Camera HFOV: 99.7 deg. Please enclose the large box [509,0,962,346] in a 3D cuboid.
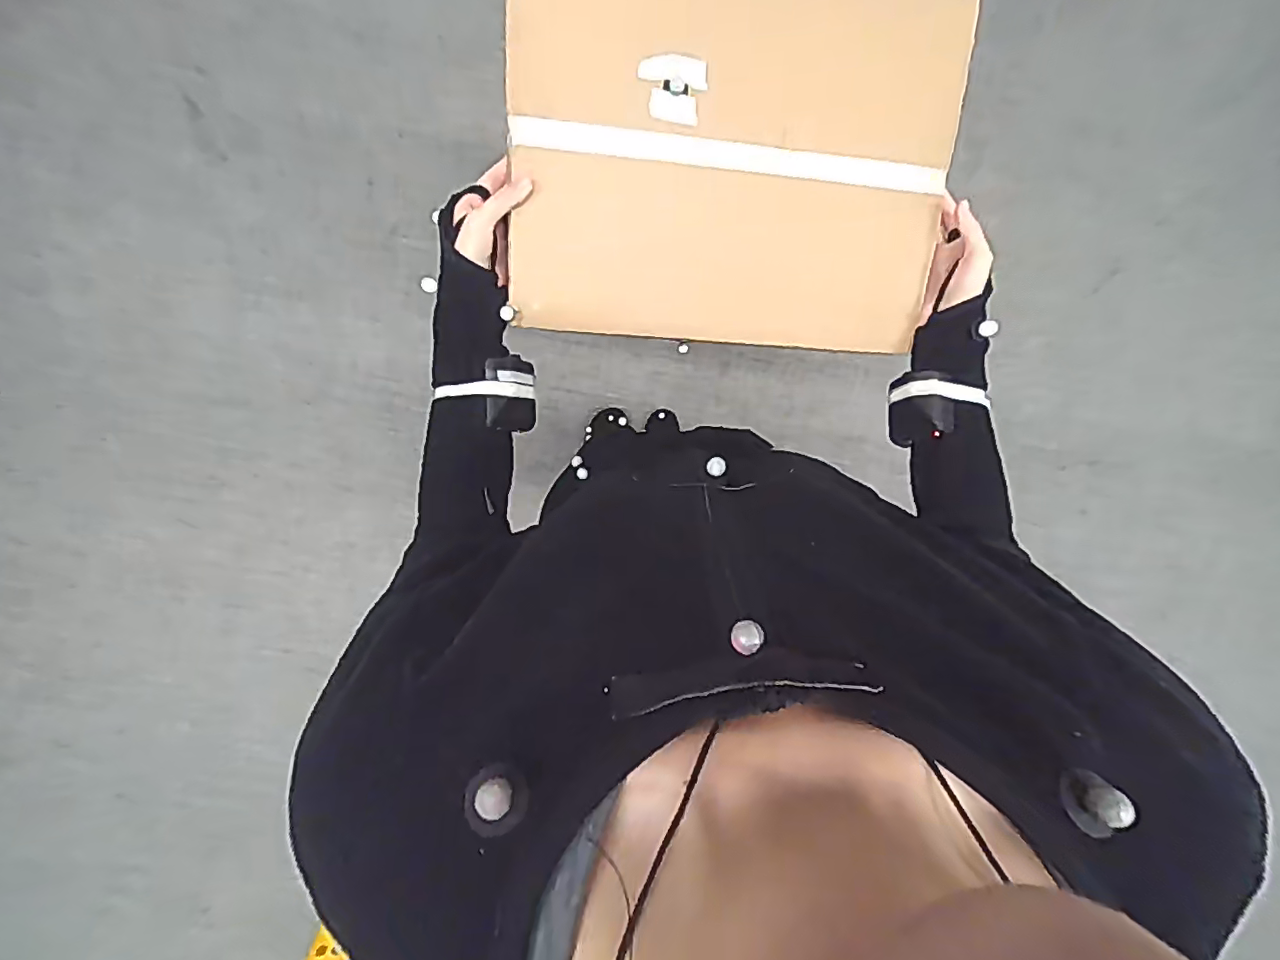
[{"bbox_3d":[0.068,-0.330,0.636,0.408,0.320,0.320,1,105,-8],"label":"large box"}]
